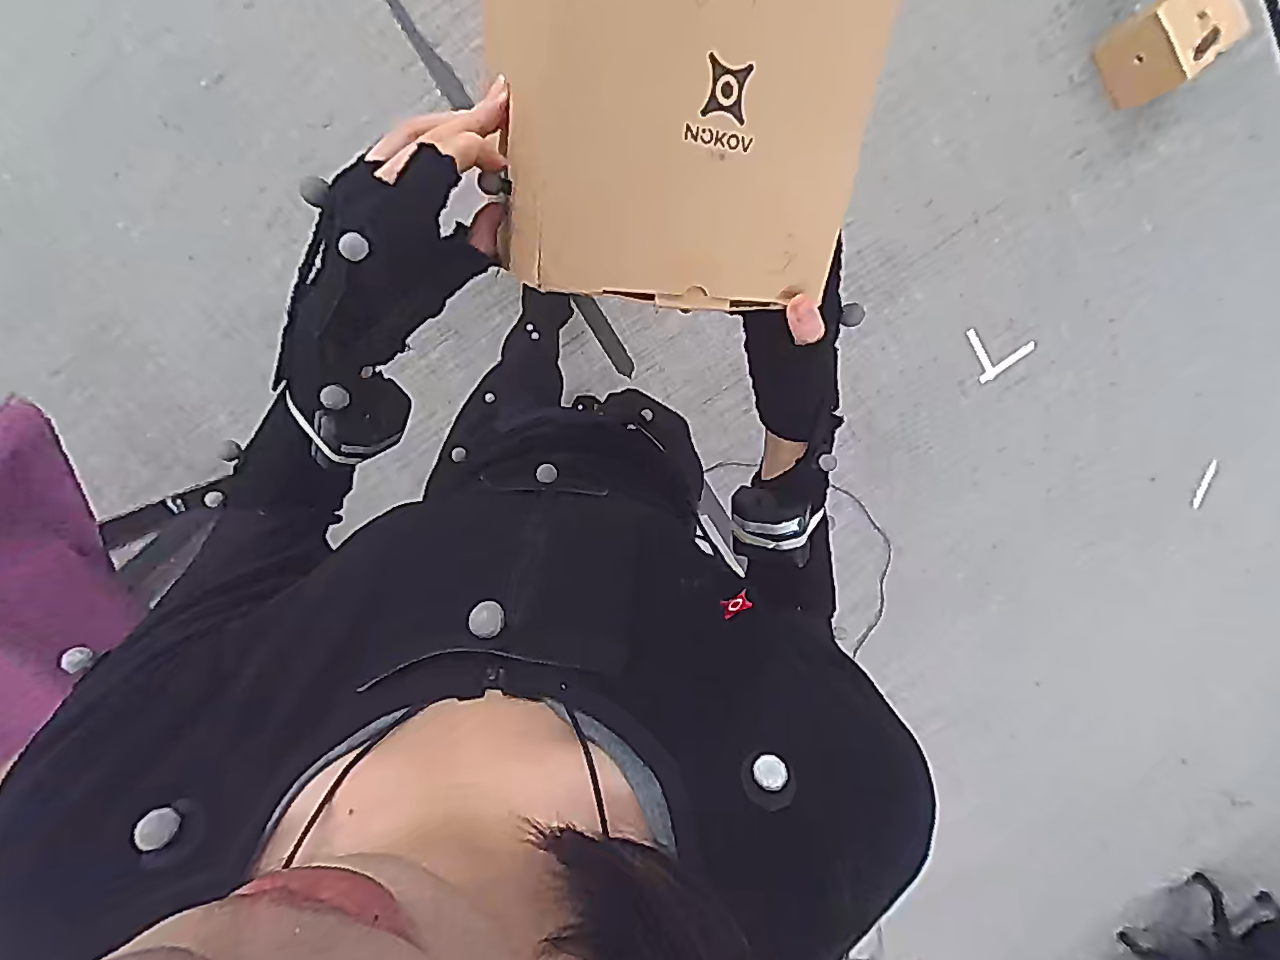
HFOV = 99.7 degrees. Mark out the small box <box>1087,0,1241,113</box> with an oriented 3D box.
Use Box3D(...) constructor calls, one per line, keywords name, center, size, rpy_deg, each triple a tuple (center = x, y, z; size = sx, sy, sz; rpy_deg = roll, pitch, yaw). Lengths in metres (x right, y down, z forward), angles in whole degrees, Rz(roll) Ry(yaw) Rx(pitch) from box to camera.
Box3D(name="small box", center=(1.232, -1.018, 1.284), size=(0.168, 0.176, 0.179), rpy_deg=(-40, 102, 5))
